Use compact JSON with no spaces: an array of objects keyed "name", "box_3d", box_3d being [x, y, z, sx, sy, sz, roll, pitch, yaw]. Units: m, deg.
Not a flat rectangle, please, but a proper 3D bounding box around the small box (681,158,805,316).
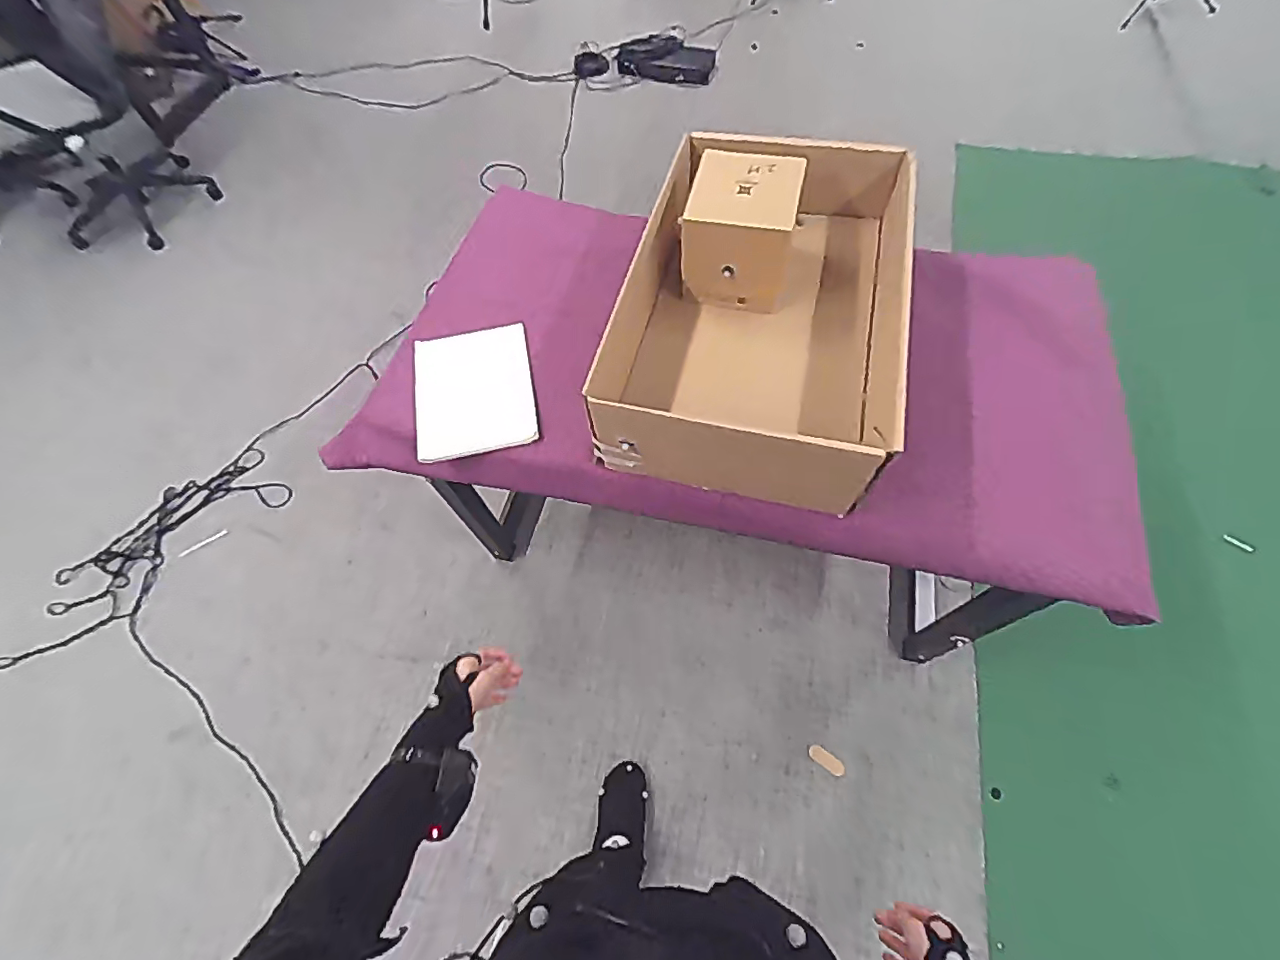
[{"name":"small box","box_3d":[0.170,-0.402,0.906,0.168,0.176,0.179,12,64,11]}]
